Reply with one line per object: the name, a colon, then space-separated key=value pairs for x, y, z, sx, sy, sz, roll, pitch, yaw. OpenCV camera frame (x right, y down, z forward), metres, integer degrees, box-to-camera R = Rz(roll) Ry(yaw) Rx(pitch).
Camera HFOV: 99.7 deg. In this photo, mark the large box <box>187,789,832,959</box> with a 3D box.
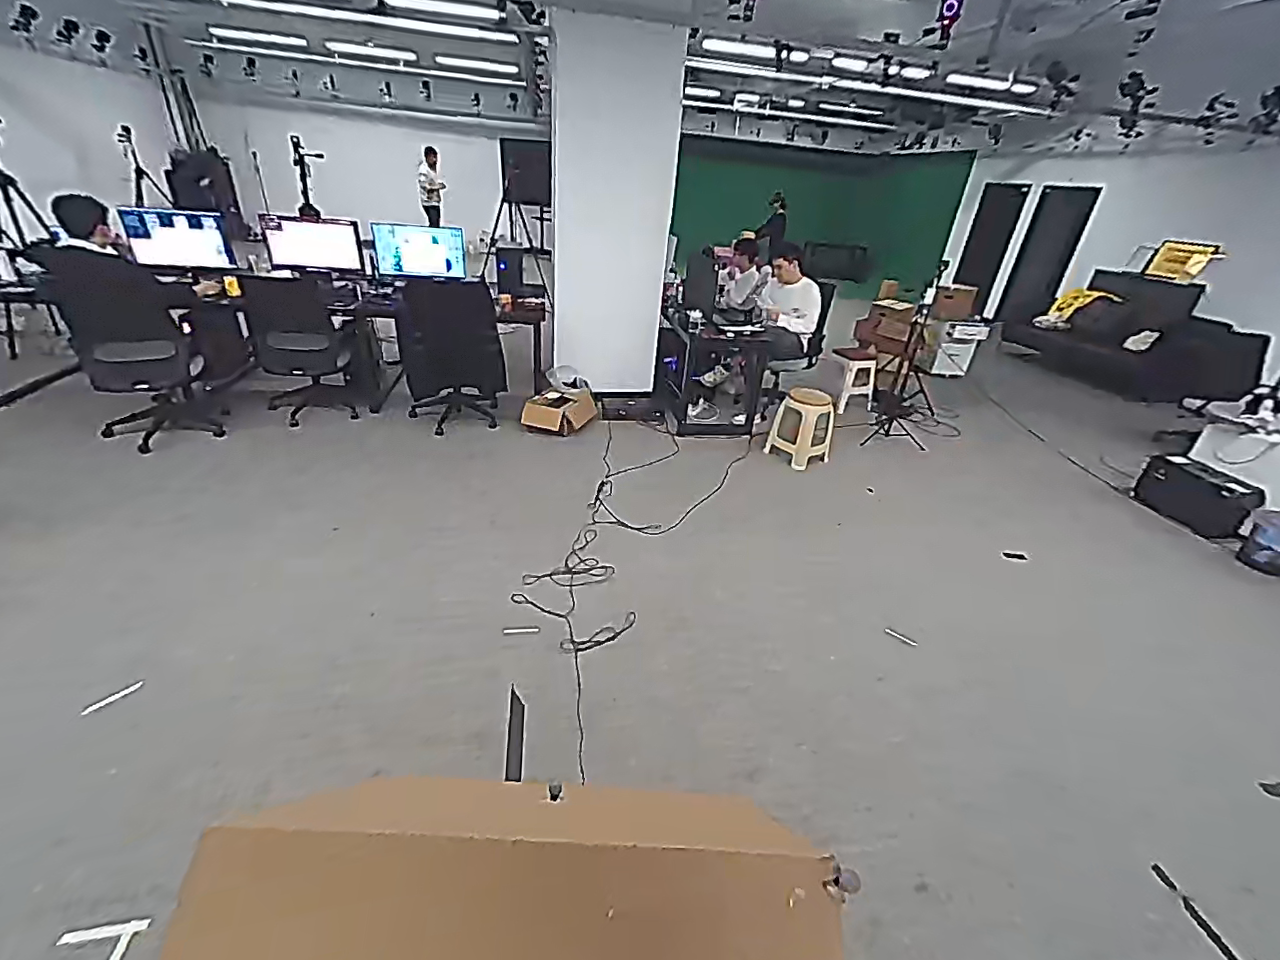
large box: x=-0.086 y=0.439 z=0.431 sx=0.408 sy=0.320 sz=0.320 roll=2 pitch=67 yaw=0
